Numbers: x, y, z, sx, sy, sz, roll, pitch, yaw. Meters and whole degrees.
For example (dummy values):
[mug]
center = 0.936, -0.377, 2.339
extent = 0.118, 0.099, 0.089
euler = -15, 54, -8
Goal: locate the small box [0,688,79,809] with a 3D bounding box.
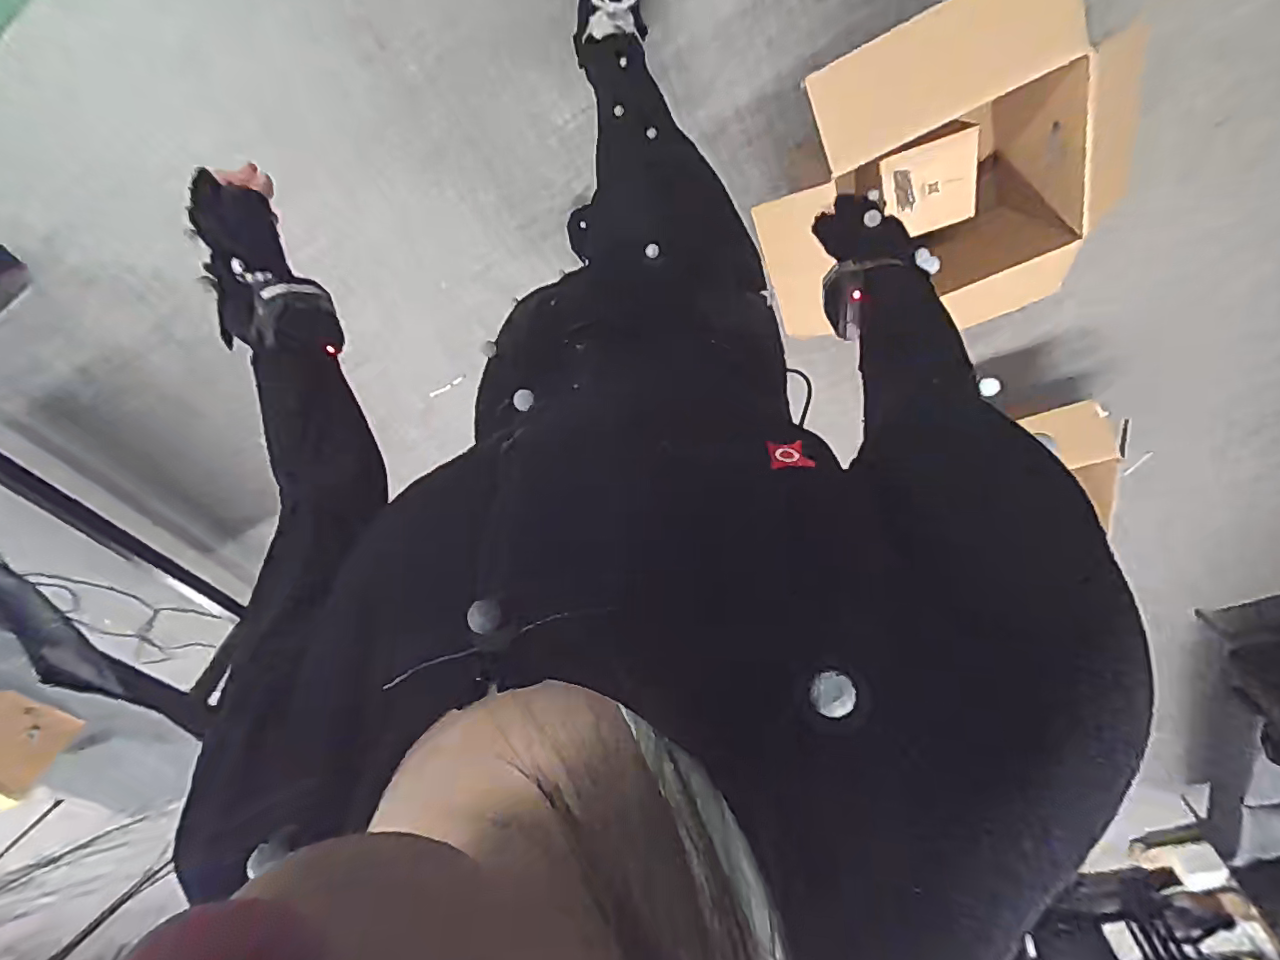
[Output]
[small box]
center = -1.341, 0.560, 1.115
extent = 0.179, 0.176, 0.168
euler = -24, 125, 17
